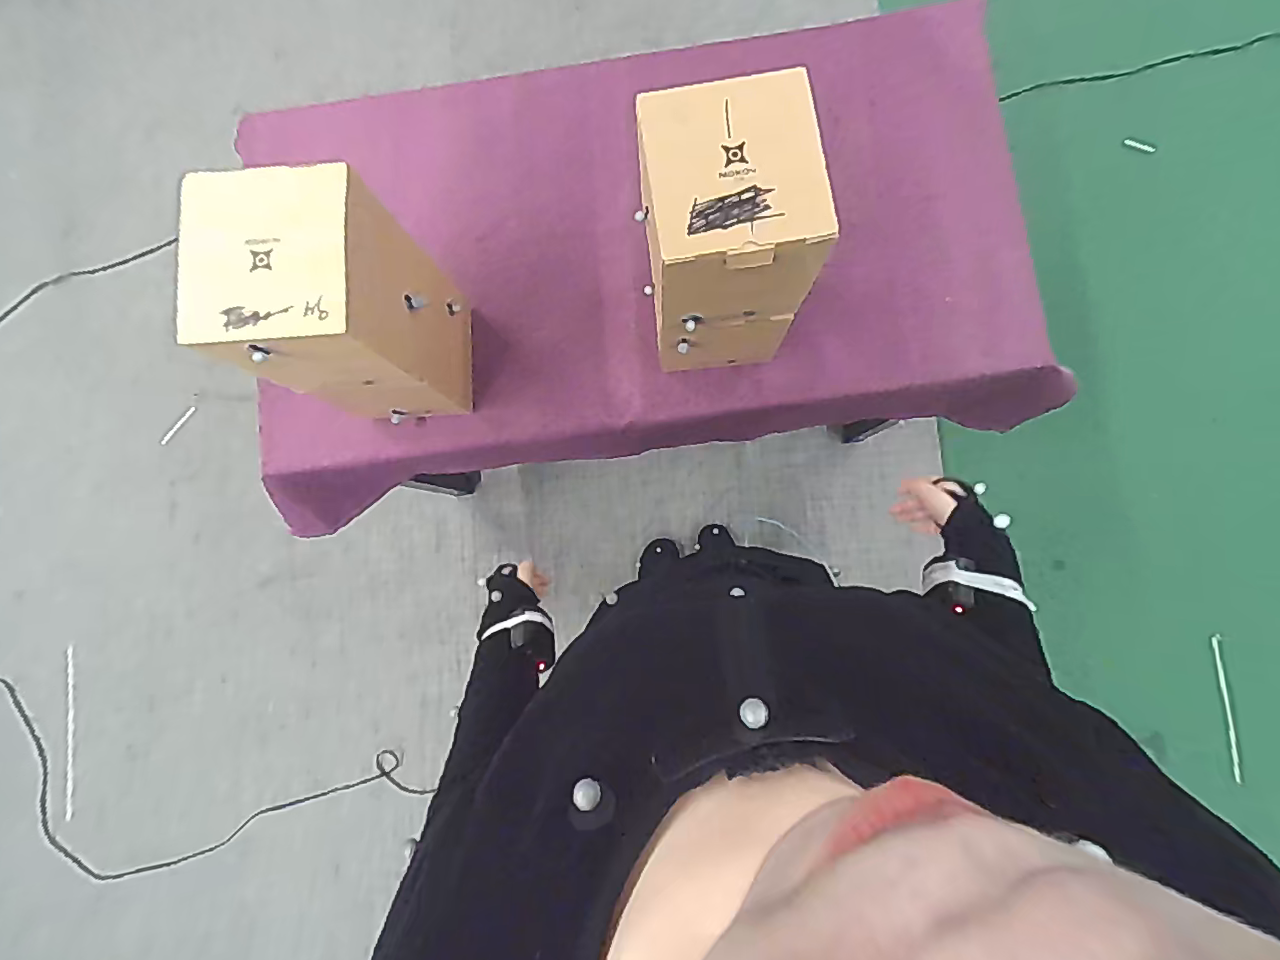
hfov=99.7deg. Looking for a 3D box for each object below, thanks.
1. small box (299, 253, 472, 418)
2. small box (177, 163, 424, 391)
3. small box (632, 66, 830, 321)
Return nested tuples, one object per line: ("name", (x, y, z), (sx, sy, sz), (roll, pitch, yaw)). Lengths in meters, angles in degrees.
("small box", (-0.347, -0.193, 0.762), (0.168, 0.176, 0.179), (-3, 84, 3))
("small box", (-0.355, -0.210, 0.598), (0.168, 0.176, 0.179), (-3, 83, 4))
("small box", (0.088, -0.288, 0.585), (0.168, 0.176, 0.179), (-8, 82, 2))
